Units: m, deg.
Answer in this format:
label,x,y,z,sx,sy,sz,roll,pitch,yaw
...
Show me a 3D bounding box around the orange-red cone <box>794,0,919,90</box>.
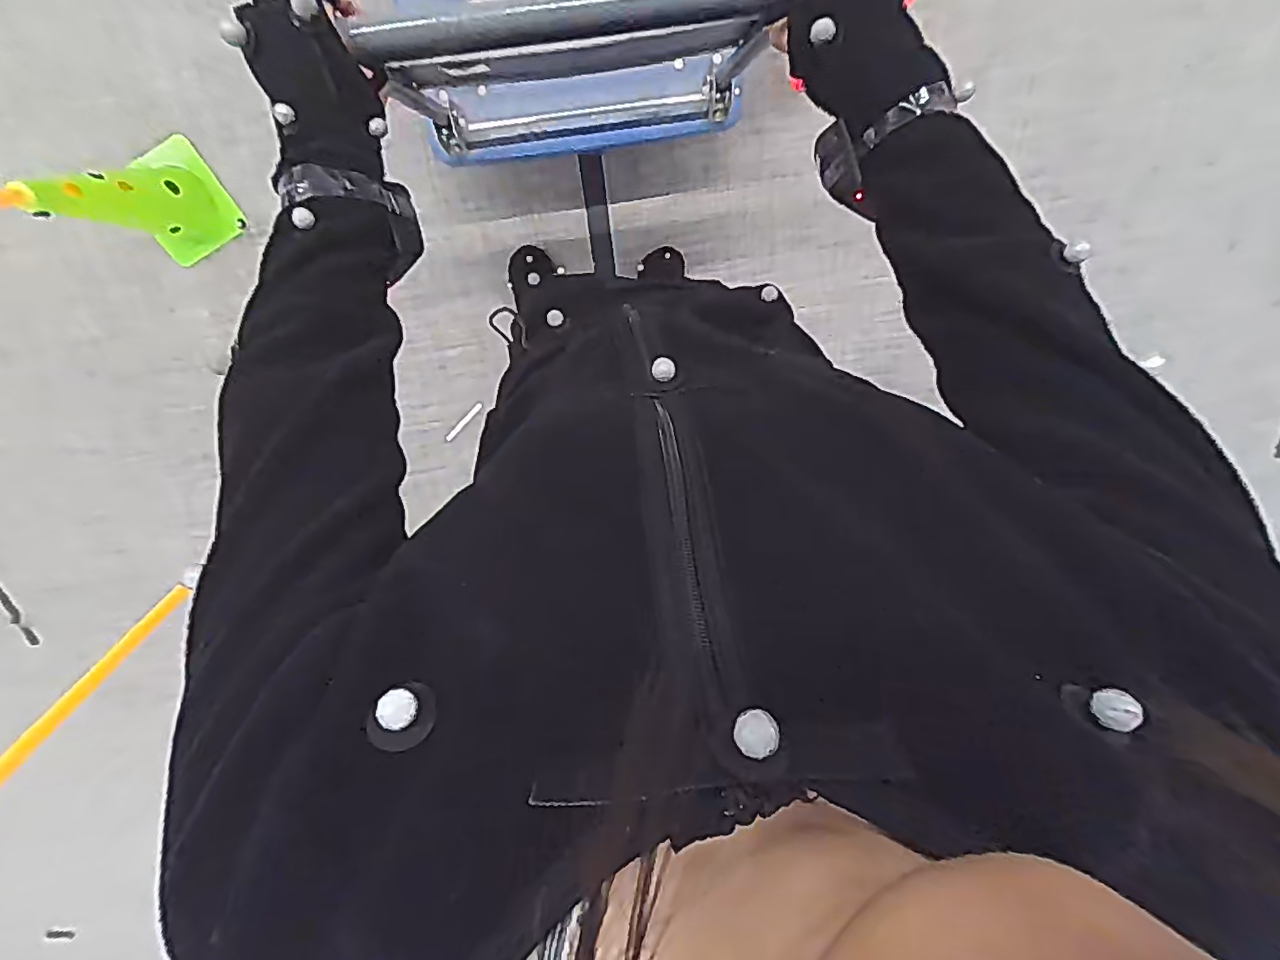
label,x,y,z,sx,sy,sz,roll,pitch,yaw
orange-red cone,0.425,-0.826,0.925,0.199,0.360,0.198,-2,116,-3
